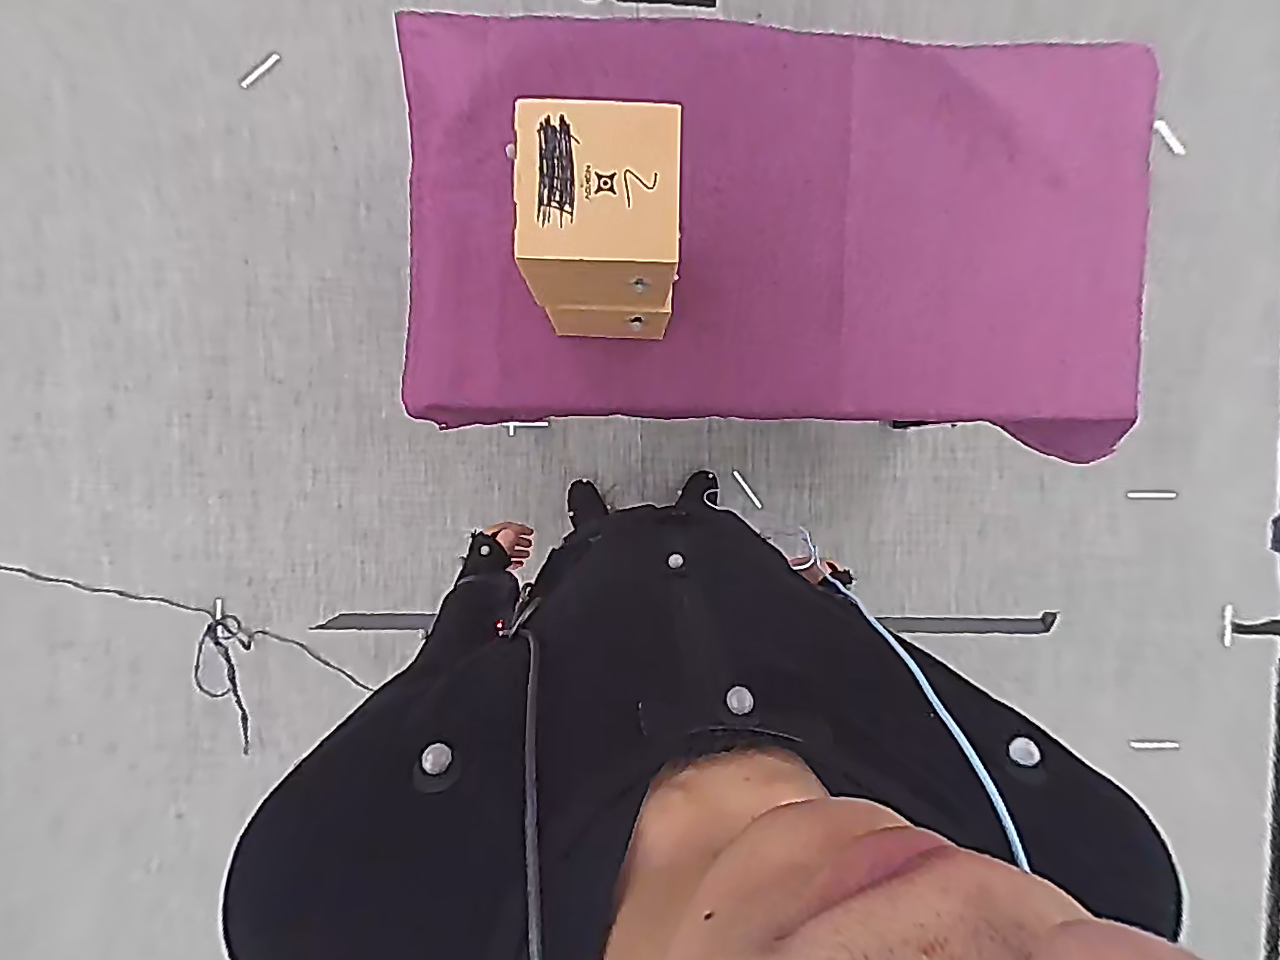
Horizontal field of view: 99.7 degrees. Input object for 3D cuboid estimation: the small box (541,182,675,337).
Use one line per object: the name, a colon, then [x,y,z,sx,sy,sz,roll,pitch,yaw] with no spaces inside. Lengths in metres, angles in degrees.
small box: [-0.047,-0.315,0.805,0.179,0.176,0.168,2,92,-2]
